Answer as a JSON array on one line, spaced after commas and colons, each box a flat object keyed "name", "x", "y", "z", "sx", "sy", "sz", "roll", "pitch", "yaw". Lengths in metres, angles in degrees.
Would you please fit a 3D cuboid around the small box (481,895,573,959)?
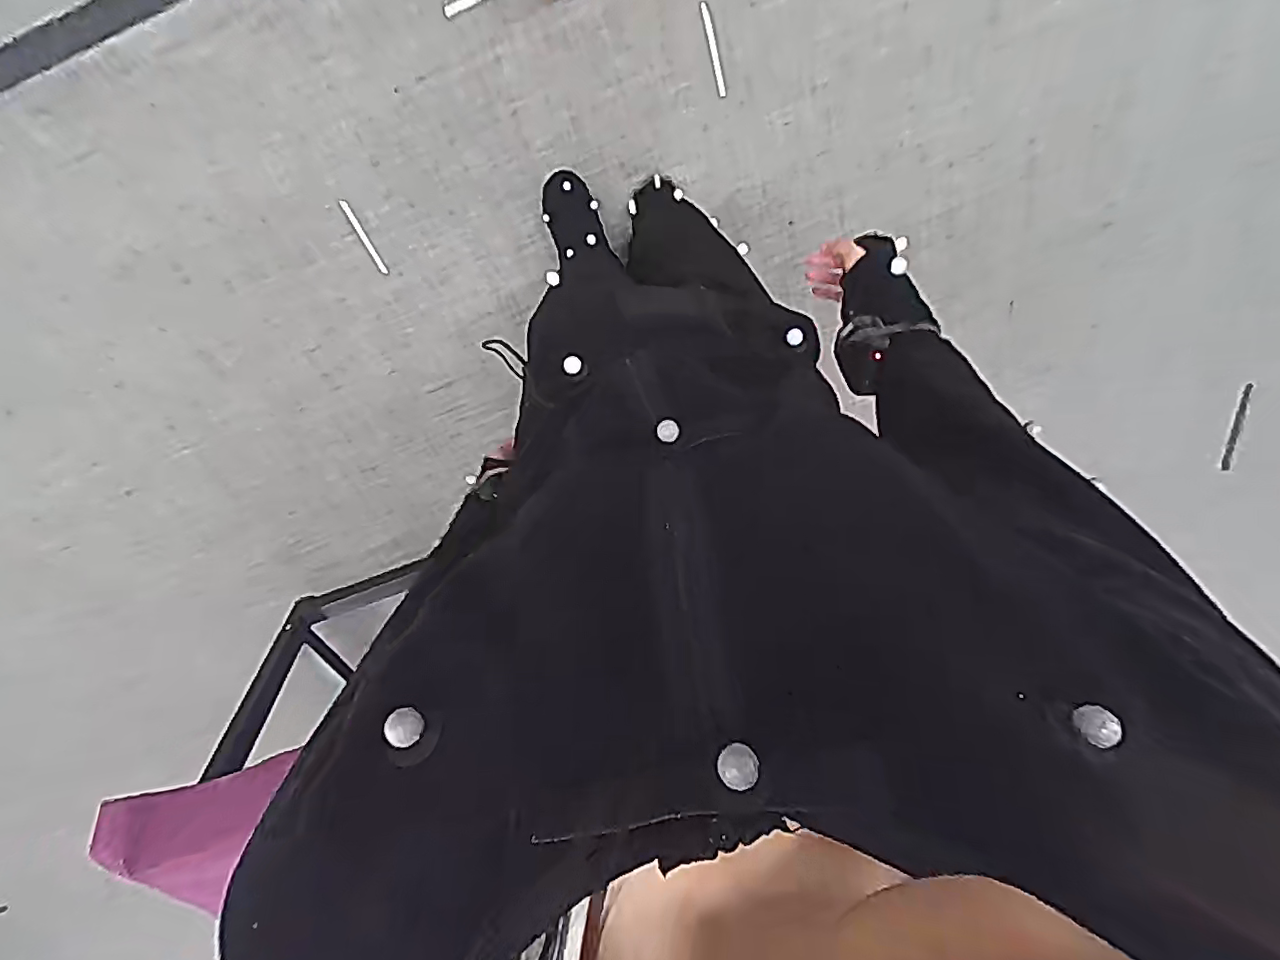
[{"name": "small box", "x": -0.267, "y": 1.124, "z": 1.285, "sx": 0.179, "sy": 0.176, "sz": 0.168, "roll": -22, "pitch": 124, "yaw": 5}]

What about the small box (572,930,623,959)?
[{"name": "small box", "x": -0.143, "y": 1.363, "z": 1.468, "sx": 0.168, "sy": 0.176, "sz": 0.179, "roll": -22, "pitch": 124, "yaw": 5}]
